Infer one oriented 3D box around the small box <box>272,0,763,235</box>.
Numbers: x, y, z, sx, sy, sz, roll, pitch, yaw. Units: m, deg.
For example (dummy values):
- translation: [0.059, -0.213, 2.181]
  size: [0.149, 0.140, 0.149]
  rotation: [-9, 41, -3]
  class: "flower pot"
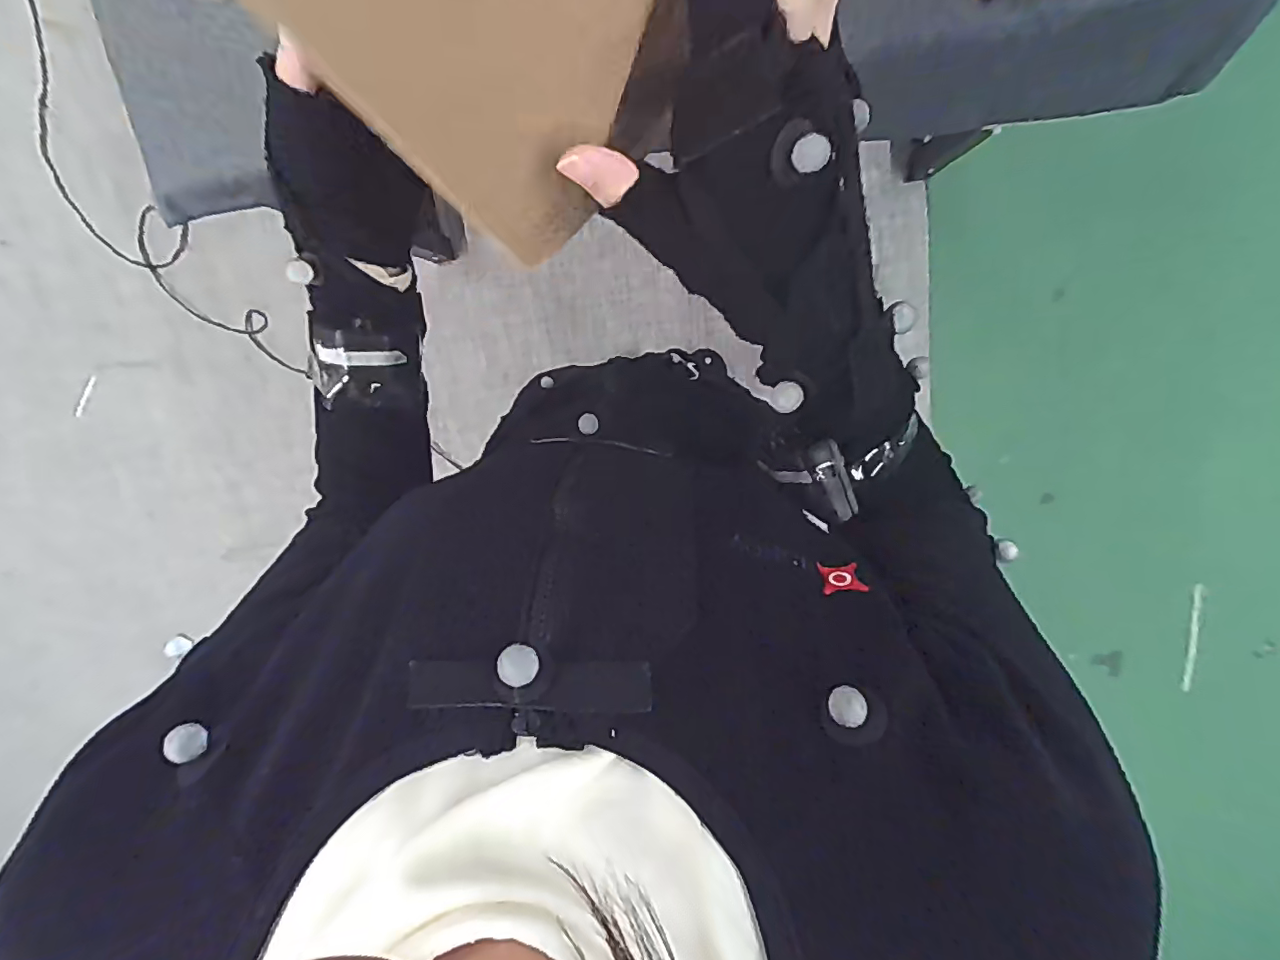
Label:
- translation: [-0.067, -0.226, 0.185]
  size: [0.179, 0.176, 0.168]
  rotation: [45, 97, 8]
  class: "small box"
